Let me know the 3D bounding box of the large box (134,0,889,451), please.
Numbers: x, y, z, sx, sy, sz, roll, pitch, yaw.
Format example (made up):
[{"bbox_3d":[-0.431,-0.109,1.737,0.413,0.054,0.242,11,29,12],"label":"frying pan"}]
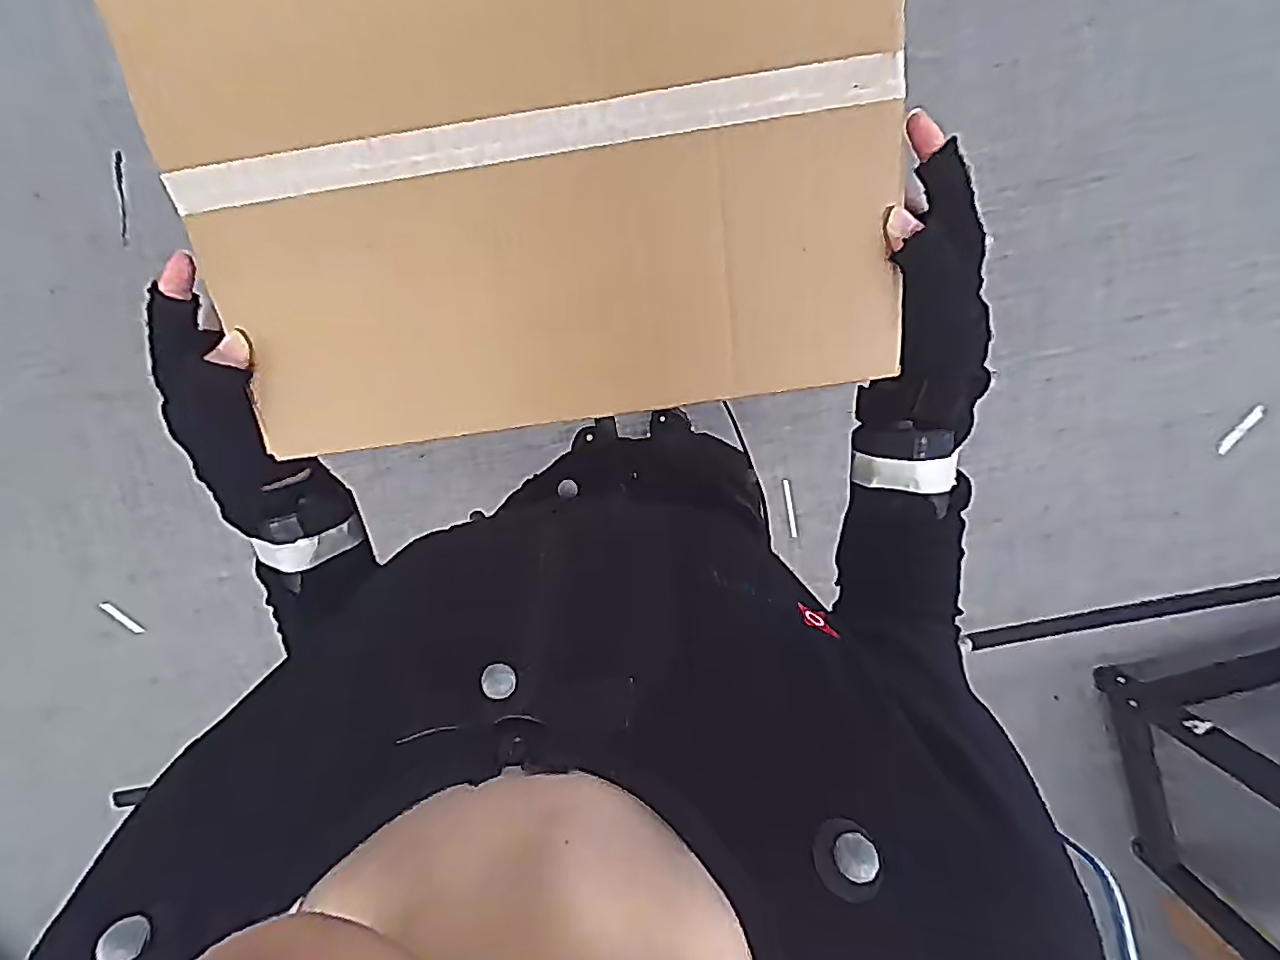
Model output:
[{"bbox_3d":[-0.061,-0.236,0.450,0.408,0.320,0.320,-8,109,2],"label":"large box"}]
